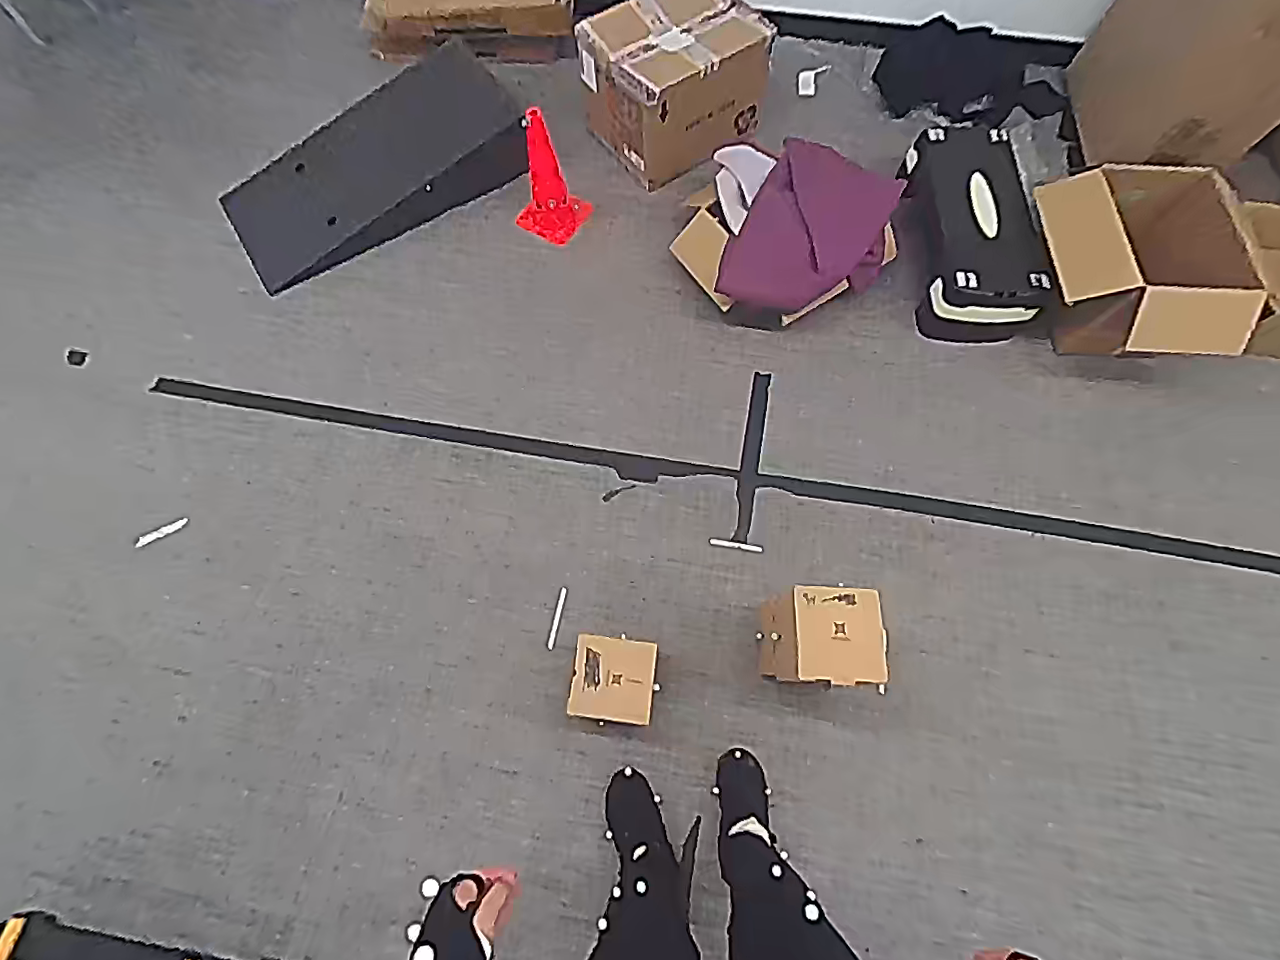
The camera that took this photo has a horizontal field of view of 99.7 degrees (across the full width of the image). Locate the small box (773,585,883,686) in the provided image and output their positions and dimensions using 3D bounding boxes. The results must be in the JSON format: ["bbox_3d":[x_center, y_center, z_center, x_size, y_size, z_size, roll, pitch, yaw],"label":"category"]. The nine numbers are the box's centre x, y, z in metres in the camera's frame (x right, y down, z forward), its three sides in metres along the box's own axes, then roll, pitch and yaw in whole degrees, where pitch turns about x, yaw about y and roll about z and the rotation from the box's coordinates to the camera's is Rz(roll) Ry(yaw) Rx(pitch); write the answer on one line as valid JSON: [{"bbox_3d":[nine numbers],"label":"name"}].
[{"bbox_3d":[0.371,0.317,1.095,0.168,0.176,0.179,3,70,1],"label":"small box"}]

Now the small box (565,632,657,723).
[{"bbox_3d":[-0.059,0.445,1.221,0.179,0.176,0.168,7,70,3],"label":"small box"}]

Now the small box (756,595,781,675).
[{"bbox_3d":[0.375,0.367,1.251,0.179,0.176,0.168,4,69,2],"label":"small box"}]
